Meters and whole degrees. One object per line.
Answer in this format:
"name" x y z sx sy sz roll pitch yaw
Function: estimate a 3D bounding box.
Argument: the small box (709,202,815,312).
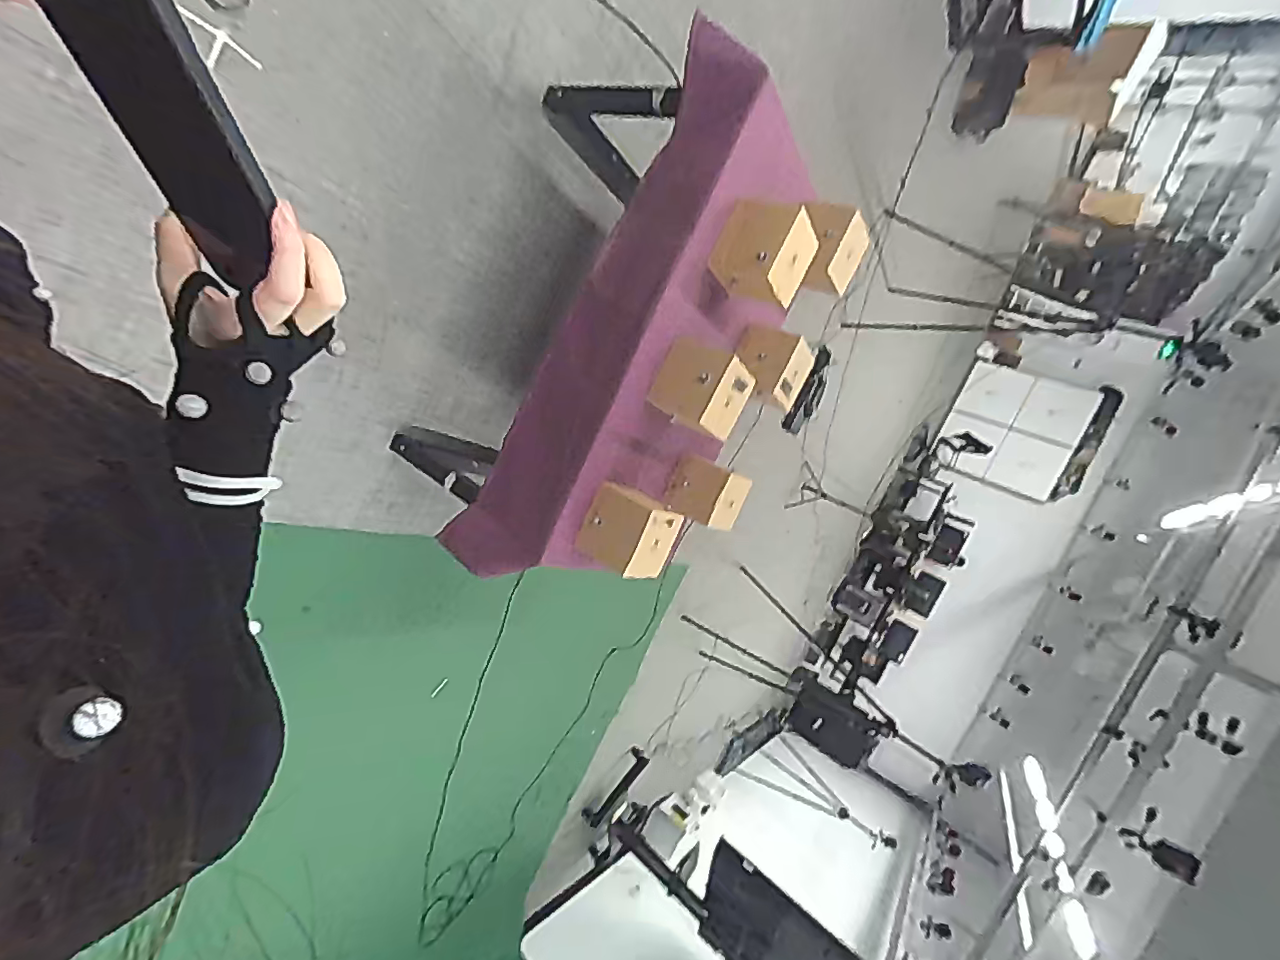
"small box" 0.293 -0.540 1.305 0.168 0.176 0.179 21 97 -58

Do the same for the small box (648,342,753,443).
"small box" 0.149 -0.219 1.342 0.168 0.176 0.179 25 94 -58

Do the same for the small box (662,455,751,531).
"small box" 0.196 0.037 1.598 0.179 0.176 0.168 14 101 -57

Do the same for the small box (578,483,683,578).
"small box" -0.029 0.128 1.351 0.168 0.176 0.179 17 99 -58
